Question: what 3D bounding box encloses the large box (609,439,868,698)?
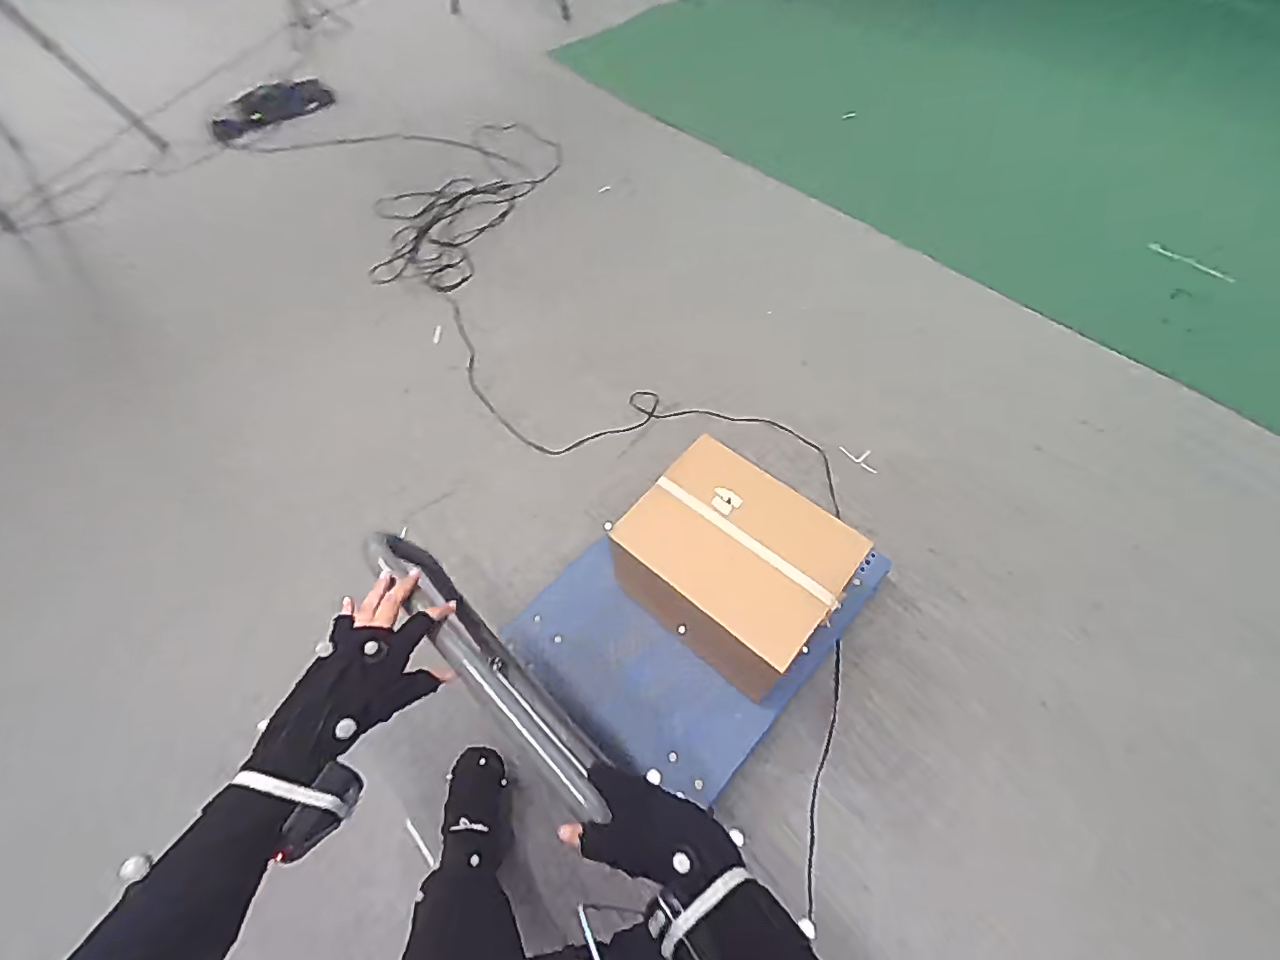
[{"bbox_3d":[0.194,0.193,1.163,0.408,0.320,0.320,36,65,22],"label":"large box"}]
